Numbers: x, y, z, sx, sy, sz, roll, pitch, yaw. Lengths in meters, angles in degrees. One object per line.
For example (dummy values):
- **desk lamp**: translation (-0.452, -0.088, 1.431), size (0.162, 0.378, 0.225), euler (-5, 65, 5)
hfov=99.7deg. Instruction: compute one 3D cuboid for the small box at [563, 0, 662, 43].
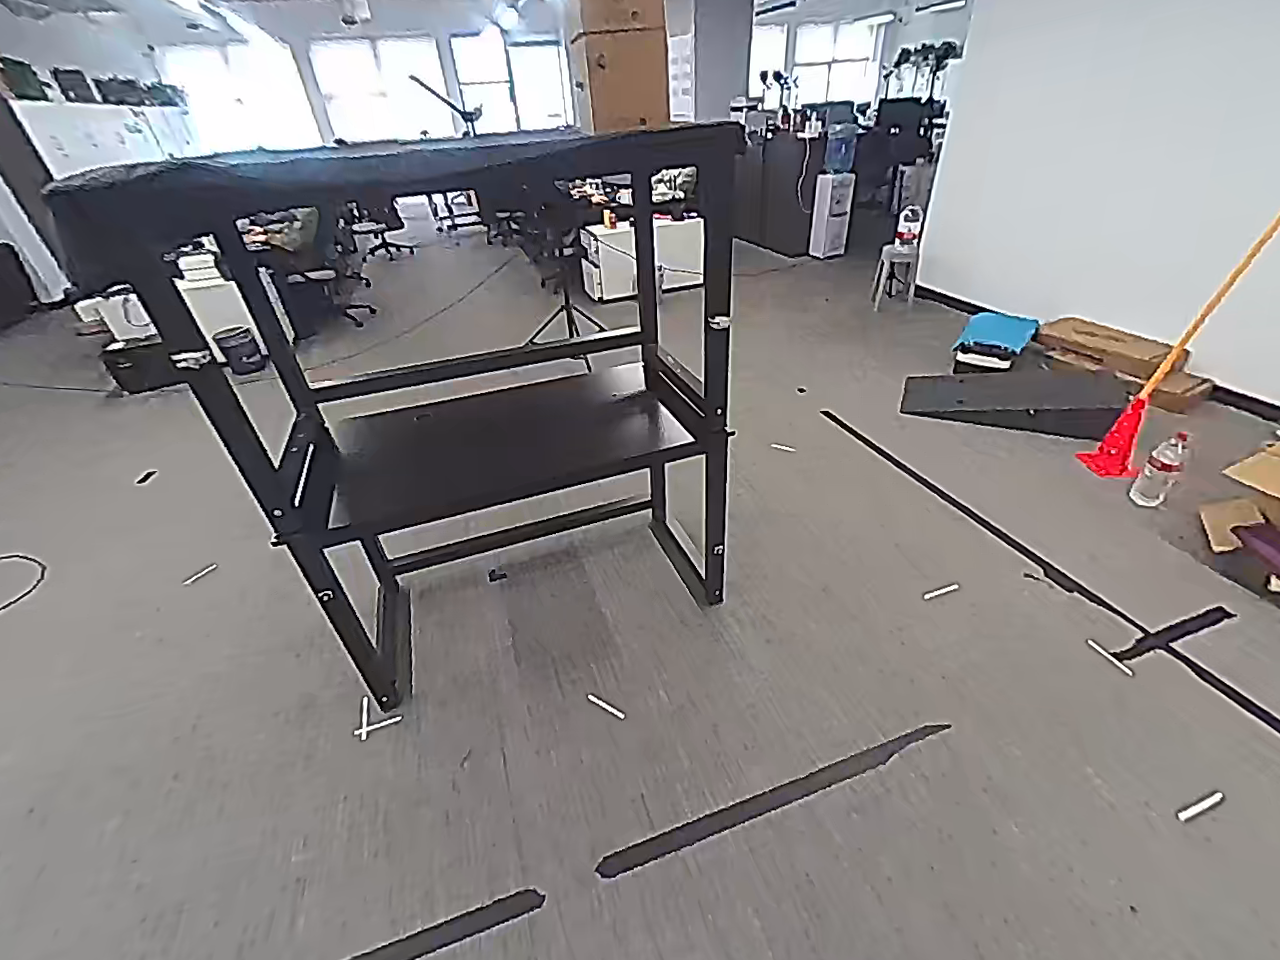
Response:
- **small box**: translation (-0.061, -0.967, 1.049), size (0.168, 0.176, 0.179), euler (-13, 35, -10)
